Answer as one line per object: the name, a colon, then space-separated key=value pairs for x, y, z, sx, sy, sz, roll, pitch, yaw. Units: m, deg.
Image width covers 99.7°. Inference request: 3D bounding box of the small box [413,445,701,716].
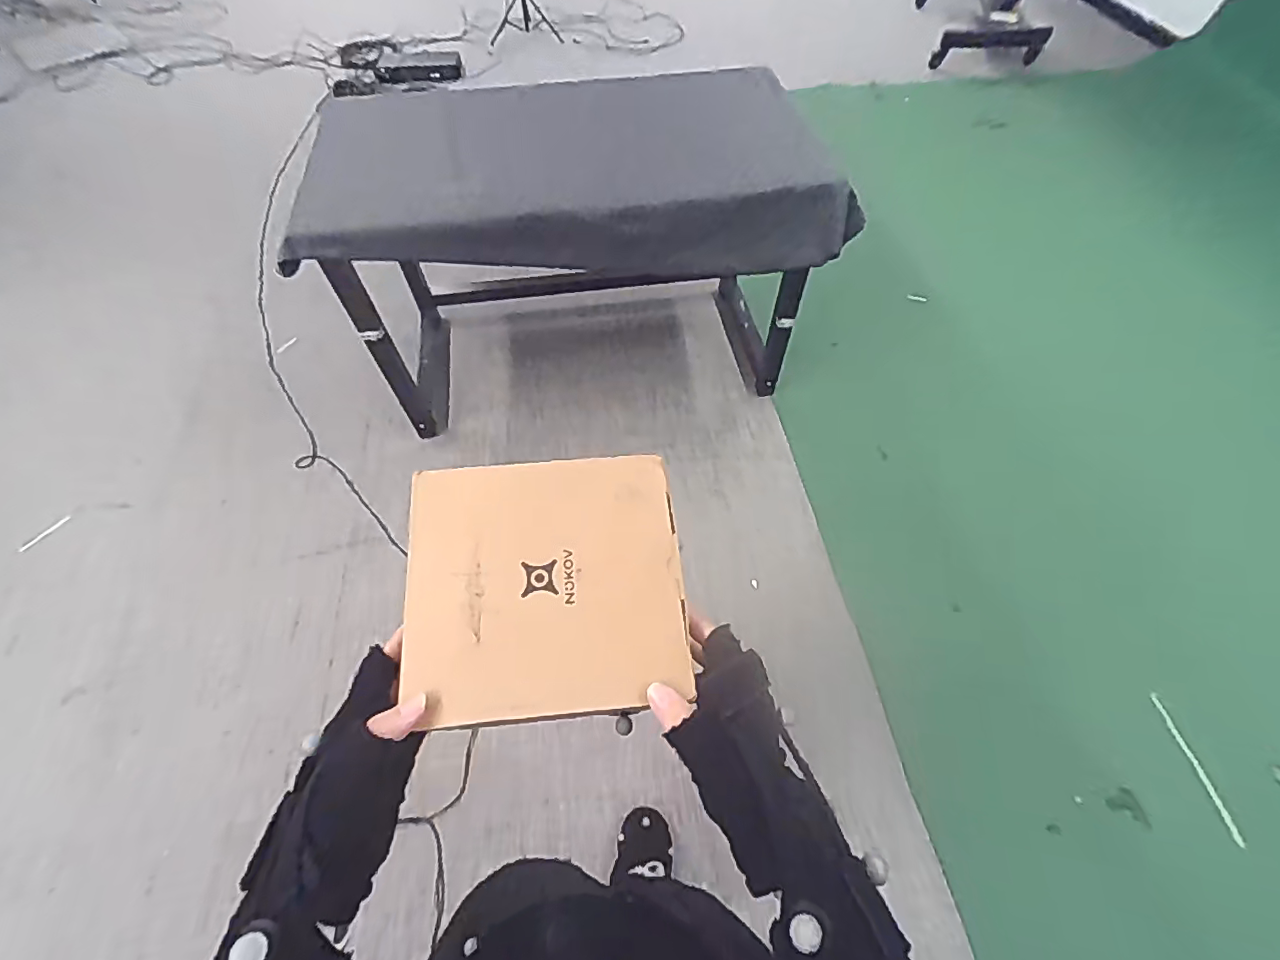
small box: x=-0.060 y=0.088 z=0.429 sx=0.179 sy=0.176 sz=0.168 roll=-6 pitch=65 yaw=-4
